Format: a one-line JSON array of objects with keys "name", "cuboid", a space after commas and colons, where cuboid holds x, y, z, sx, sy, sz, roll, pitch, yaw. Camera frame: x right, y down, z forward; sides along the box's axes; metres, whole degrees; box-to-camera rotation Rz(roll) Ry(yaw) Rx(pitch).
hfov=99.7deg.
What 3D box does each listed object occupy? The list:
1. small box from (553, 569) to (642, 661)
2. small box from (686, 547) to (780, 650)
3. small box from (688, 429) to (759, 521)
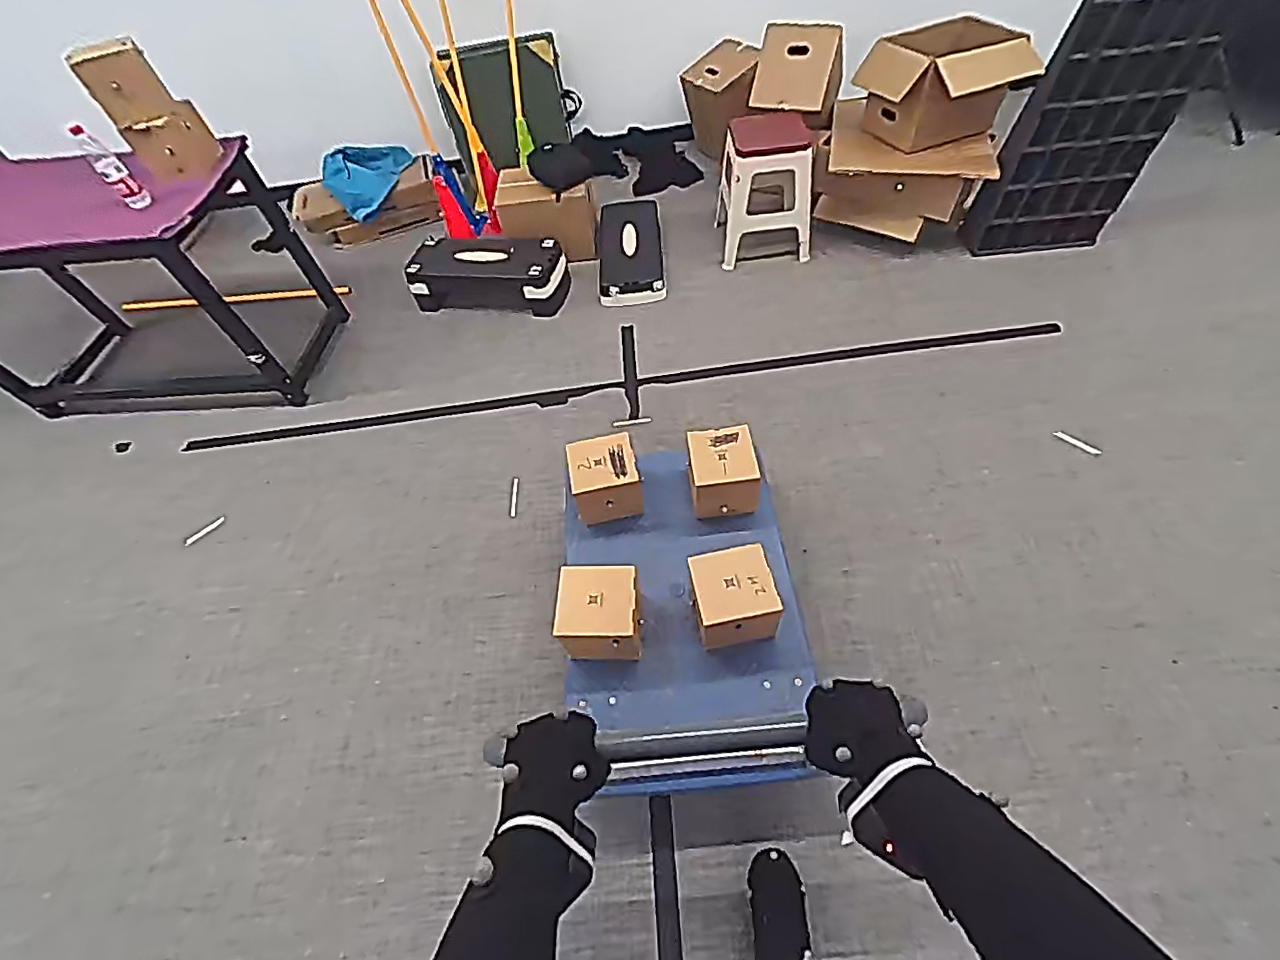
[{"name": "small box", "cuboid": [-0.092, 0.319, 1.269, 0.179, 0.176, 0.168, -1, 55, 5]}, {"name": "small box", "cuboid": [0.212, 0.280, 1.257, 0.179, 0.176, 0.168, -11, 55, 0]}, {"name": "small box", "cuboid": [0.218, -0.011, 1.457, 0.168, 0.176, 0.179, -7, 56, 2]}]
